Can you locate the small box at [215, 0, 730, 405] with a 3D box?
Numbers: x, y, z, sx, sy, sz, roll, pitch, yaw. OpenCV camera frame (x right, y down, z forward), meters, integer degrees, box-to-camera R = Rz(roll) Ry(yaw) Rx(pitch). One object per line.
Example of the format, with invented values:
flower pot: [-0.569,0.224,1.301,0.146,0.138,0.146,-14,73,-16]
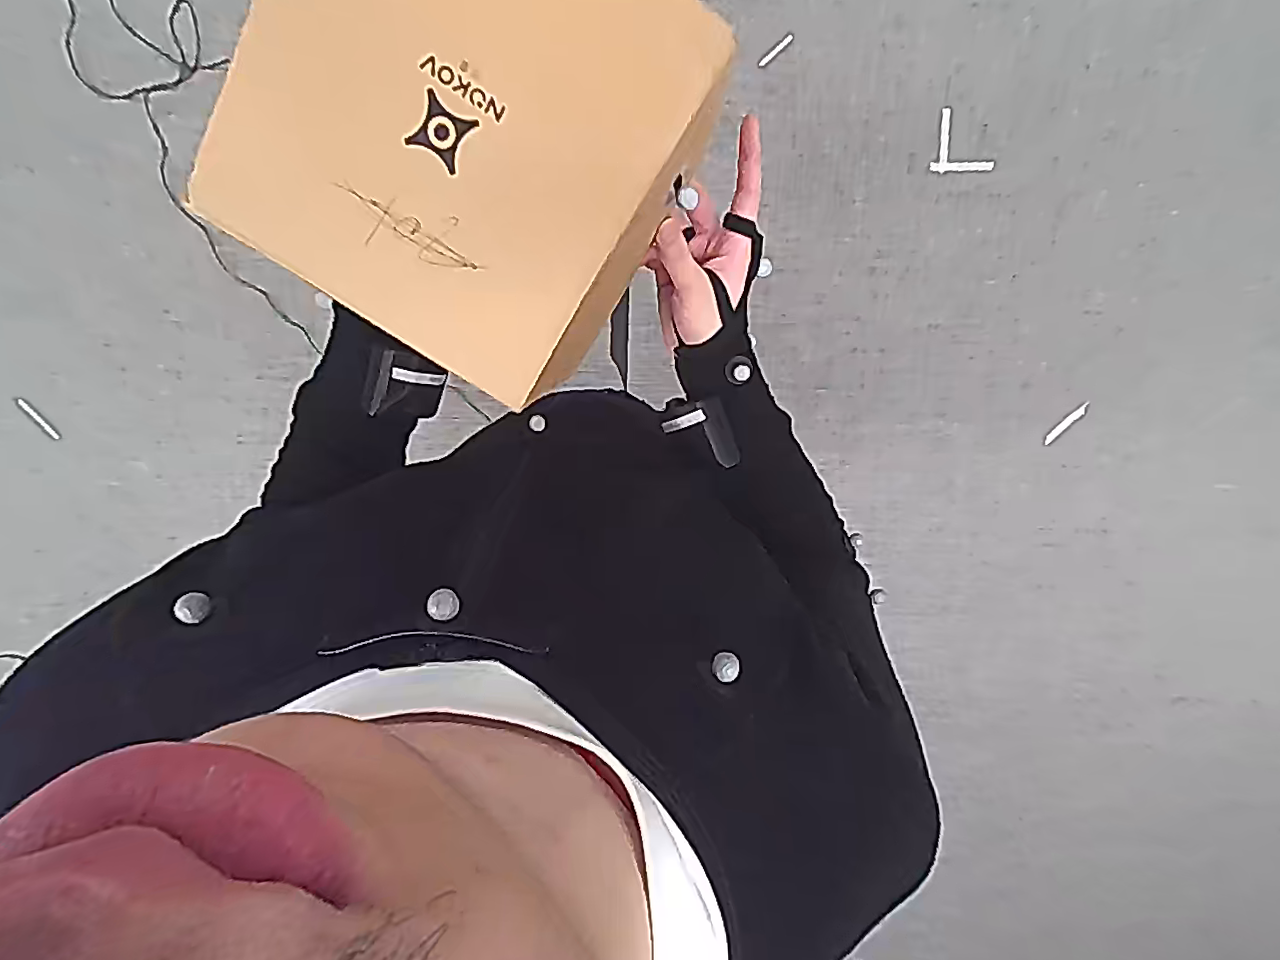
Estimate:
small box: [-0.074,-0.168,0.305,0.168,0.176,0.179,31,105,-6]
